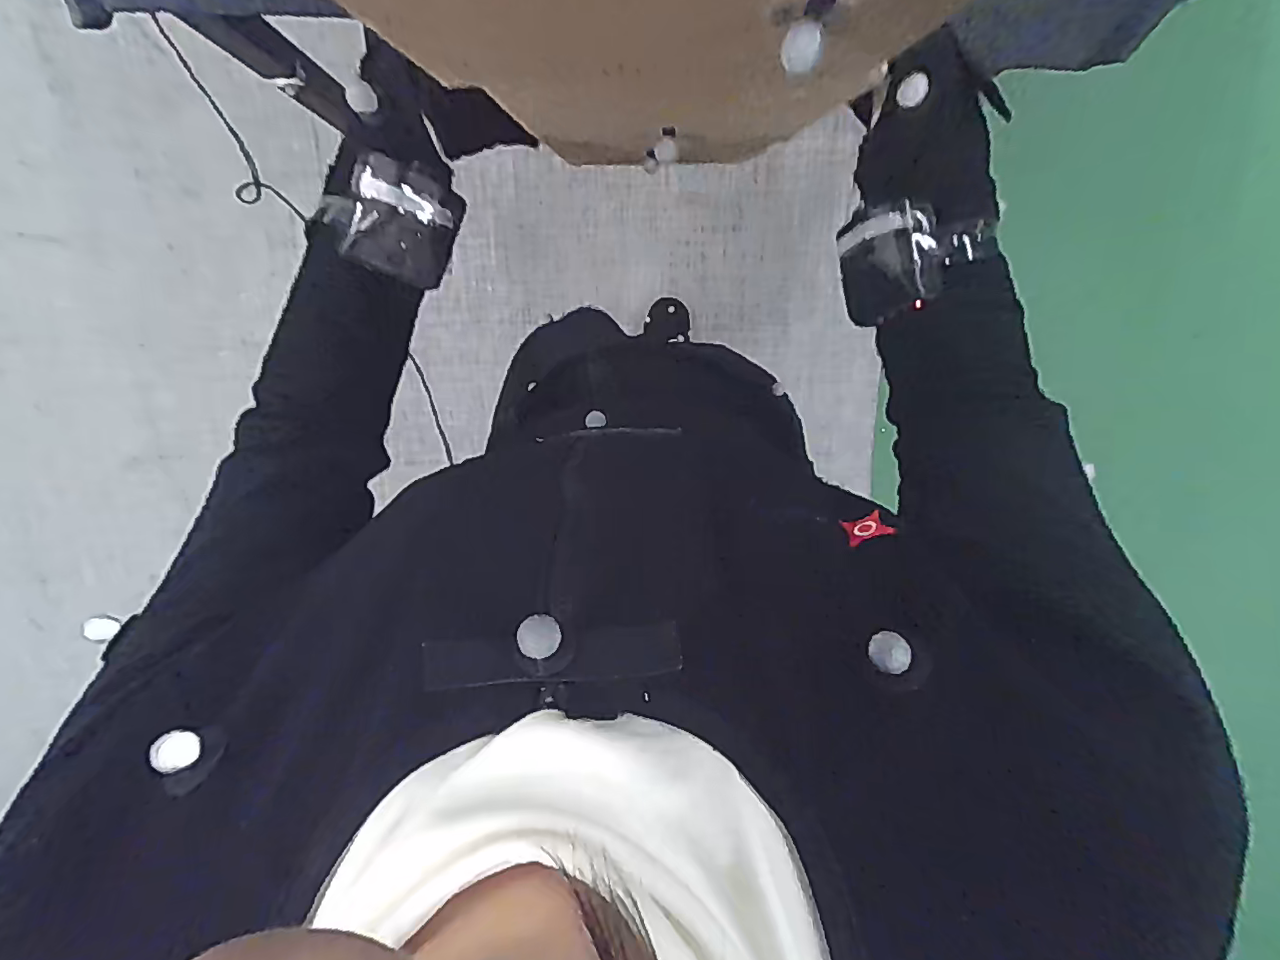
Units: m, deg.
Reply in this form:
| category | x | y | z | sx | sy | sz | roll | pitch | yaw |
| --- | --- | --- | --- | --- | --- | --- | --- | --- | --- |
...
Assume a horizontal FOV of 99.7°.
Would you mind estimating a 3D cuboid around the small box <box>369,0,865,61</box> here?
| category | x | y | z | sx | sy | sz | roll | pitch | yaw |
| --- | --- | --- | --- | --- | --- | --- | --- | --- | --- |
| small box | -0.005 | -0.217 | 0.119 | 0.179 | 0.176 | 0.168 | 0 | 114 | 2 |
